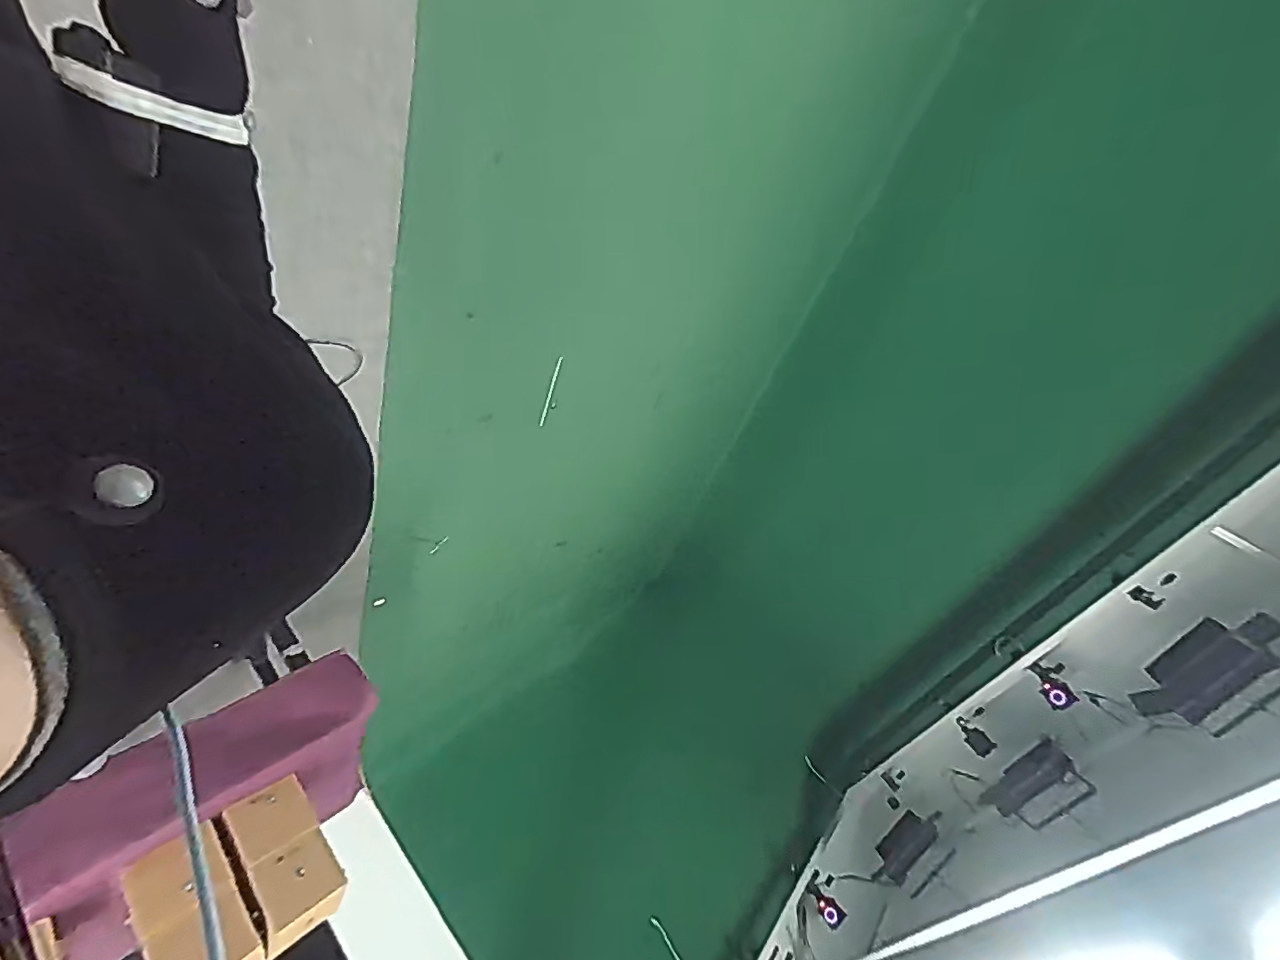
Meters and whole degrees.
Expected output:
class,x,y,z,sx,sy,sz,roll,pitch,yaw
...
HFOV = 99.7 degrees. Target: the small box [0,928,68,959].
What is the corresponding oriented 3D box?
class,x,y,z,sx,sy,sz,roll,pitch,yaw
small box,-1.263,1.062,1.082,0.179,0.176,0.168,-17,141,-53
